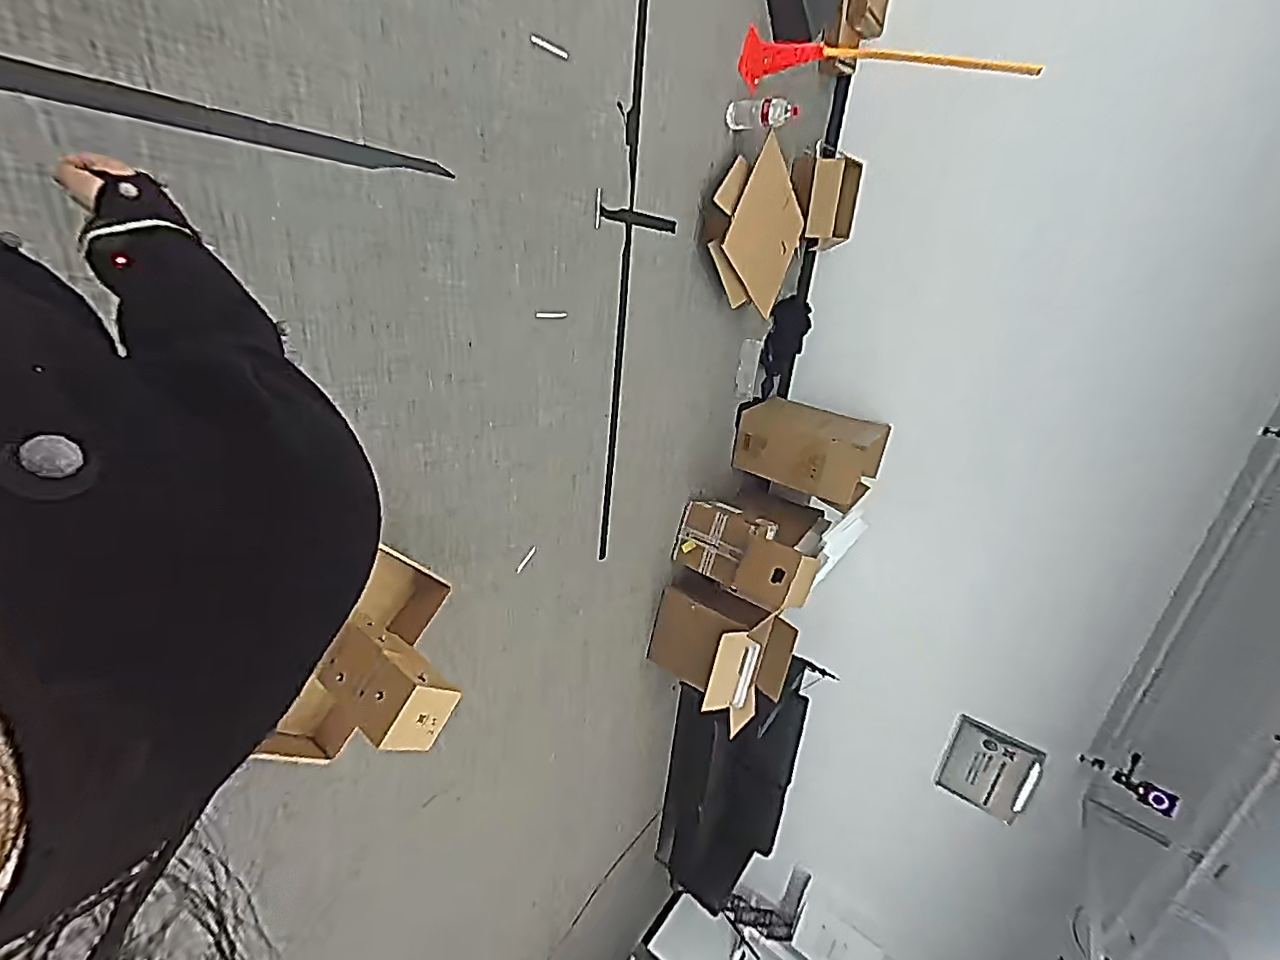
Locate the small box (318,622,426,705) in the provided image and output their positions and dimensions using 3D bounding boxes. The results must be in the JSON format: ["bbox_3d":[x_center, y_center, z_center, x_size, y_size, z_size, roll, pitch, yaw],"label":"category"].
[{"bbox_3d":[-0.745,0.514,1.501,0.168,0.176,0.179,-60,148,-12],"label":"small box"}]

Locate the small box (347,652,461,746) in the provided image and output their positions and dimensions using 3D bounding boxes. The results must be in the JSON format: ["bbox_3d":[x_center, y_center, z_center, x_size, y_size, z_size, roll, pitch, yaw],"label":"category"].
[{"bbox_3d":[-0.618,0.569,1.412,0.168,0.176,0.179,-60,147,-12],"label":"small box"}]

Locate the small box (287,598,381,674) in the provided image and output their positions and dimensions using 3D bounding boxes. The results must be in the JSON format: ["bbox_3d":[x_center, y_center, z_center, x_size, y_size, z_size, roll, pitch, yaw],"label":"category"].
[{"bbox_3d":[-0.877,0.467,1.583,0.168,0.176,0.179,-58,146,-17],"label":"small box"}]
